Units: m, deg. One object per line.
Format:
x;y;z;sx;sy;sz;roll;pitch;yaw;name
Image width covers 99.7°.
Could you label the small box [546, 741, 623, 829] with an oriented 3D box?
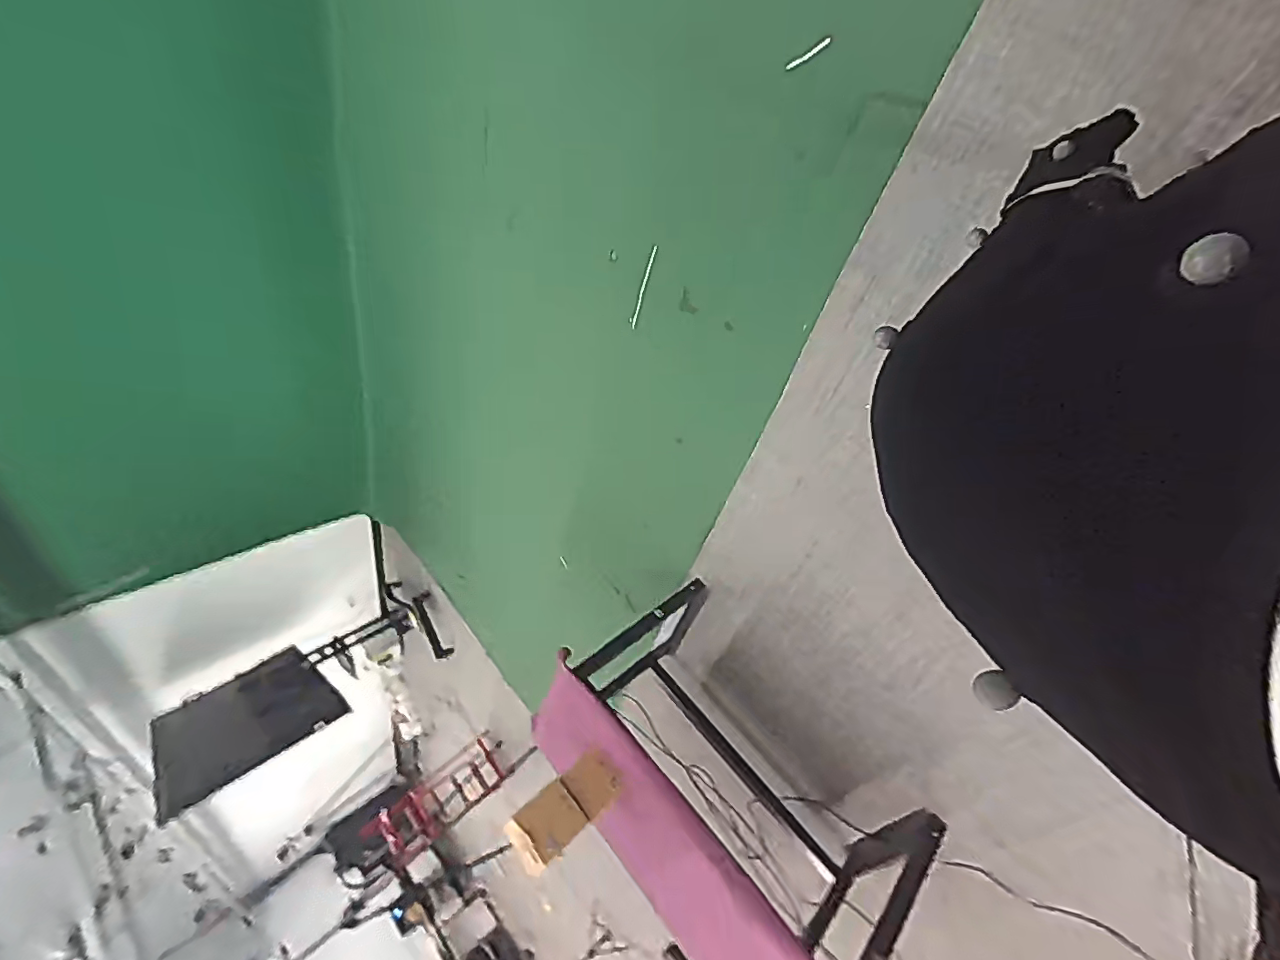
-0.178;0.991;1.766;0.168;0.176;0.179;48;137;21;small box
